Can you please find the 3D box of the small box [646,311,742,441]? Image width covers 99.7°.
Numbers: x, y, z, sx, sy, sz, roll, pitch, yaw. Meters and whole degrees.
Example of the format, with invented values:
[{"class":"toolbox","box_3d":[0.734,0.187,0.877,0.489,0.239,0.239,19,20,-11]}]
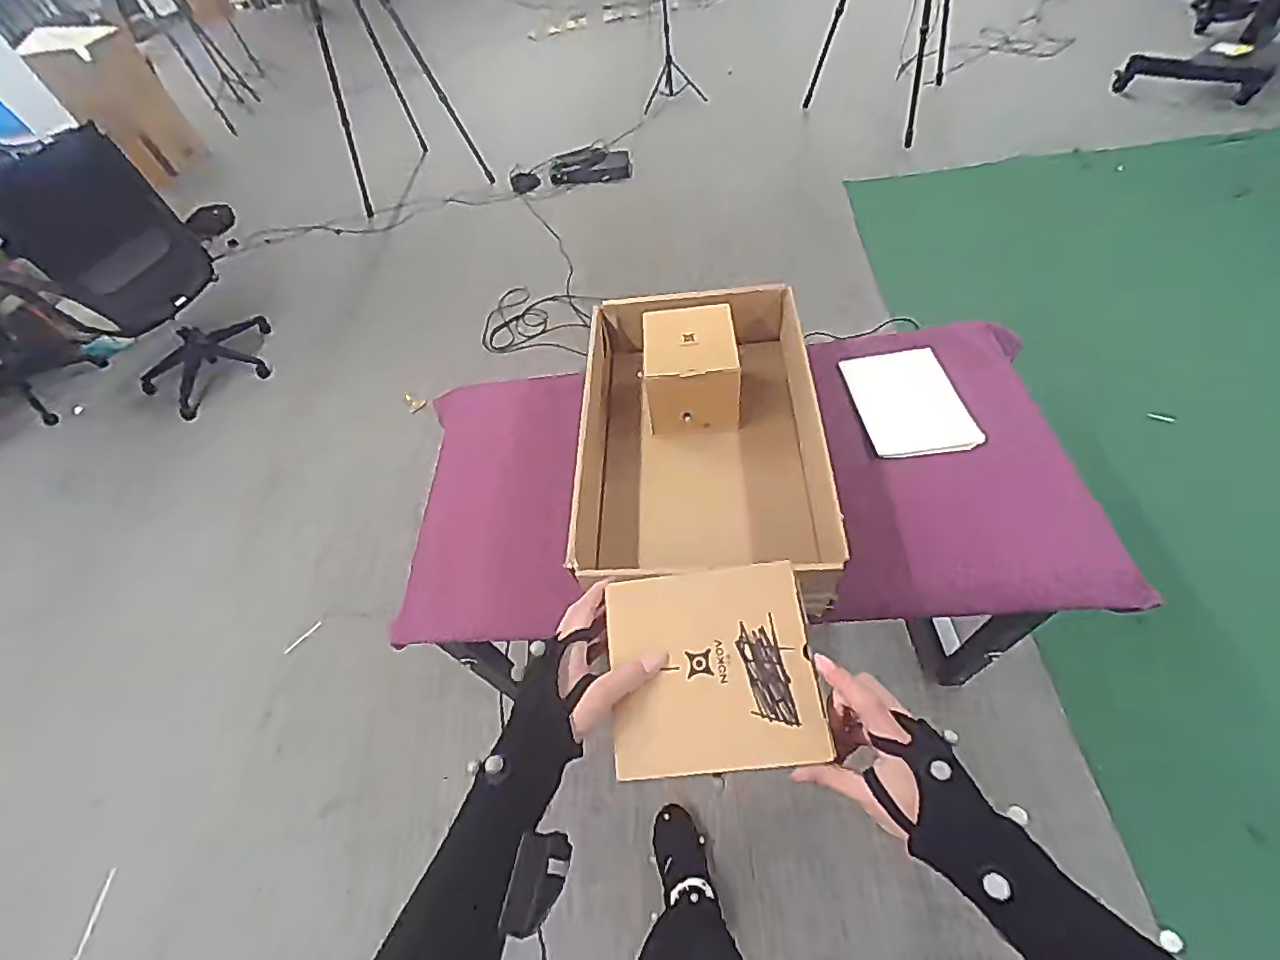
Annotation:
[{"class":"small box","box_3d":[0.100,-0.197,1.040,0.168,0.176,0.179,-5,56,5]}]
